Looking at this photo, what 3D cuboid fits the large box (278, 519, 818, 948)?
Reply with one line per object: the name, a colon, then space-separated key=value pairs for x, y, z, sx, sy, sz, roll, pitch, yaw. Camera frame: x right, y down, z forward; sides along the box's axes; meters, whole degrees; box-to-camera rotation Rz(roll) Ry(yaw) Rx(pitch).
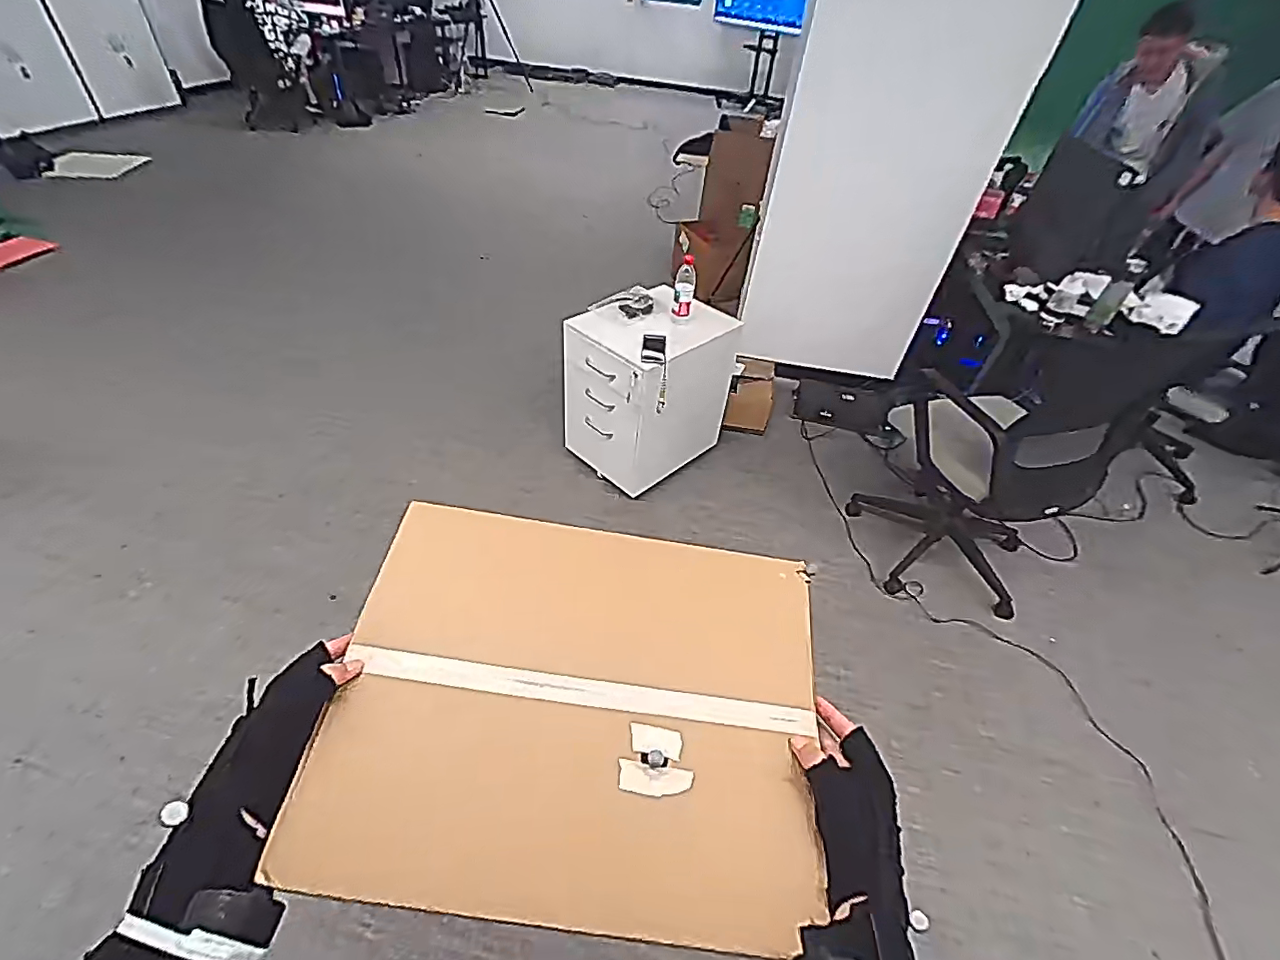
large box: x=-0.067 y=0.274 z=0.596 sx=0.408 sy=0.320 sz=0.320 roll=9 pitch=56 yaw=-2
